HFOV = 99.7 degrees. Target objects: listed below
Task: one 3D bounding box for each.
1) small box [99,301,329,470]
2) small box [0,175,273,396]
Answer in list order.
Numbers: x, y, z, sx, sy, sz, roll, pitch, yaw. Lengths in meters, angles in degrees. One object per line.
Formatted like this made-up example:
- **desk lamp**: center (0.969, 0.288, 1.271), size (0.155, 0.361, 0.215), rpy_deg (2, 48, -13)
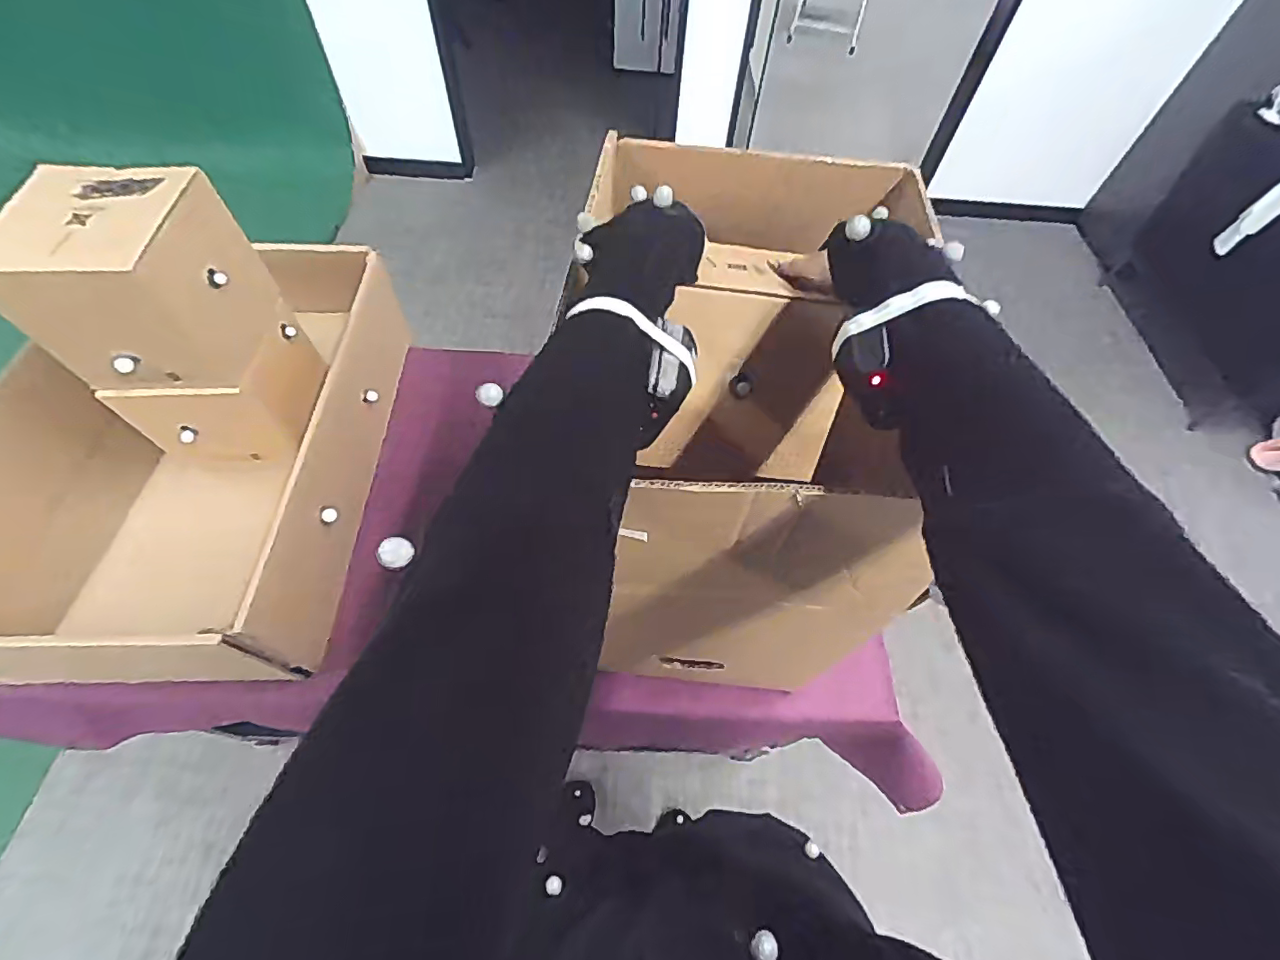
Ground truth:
- **small box**: center (-0.566, -0.123, 0.753), size (0.168, 0.176, 0.179), rpy_deg (-3, 59, -4)
- **small box**: center (-0.561, -0.216, 0.616), size (0.168, 0.176, 0.179), rpy_deg (-2, 60, -3)
